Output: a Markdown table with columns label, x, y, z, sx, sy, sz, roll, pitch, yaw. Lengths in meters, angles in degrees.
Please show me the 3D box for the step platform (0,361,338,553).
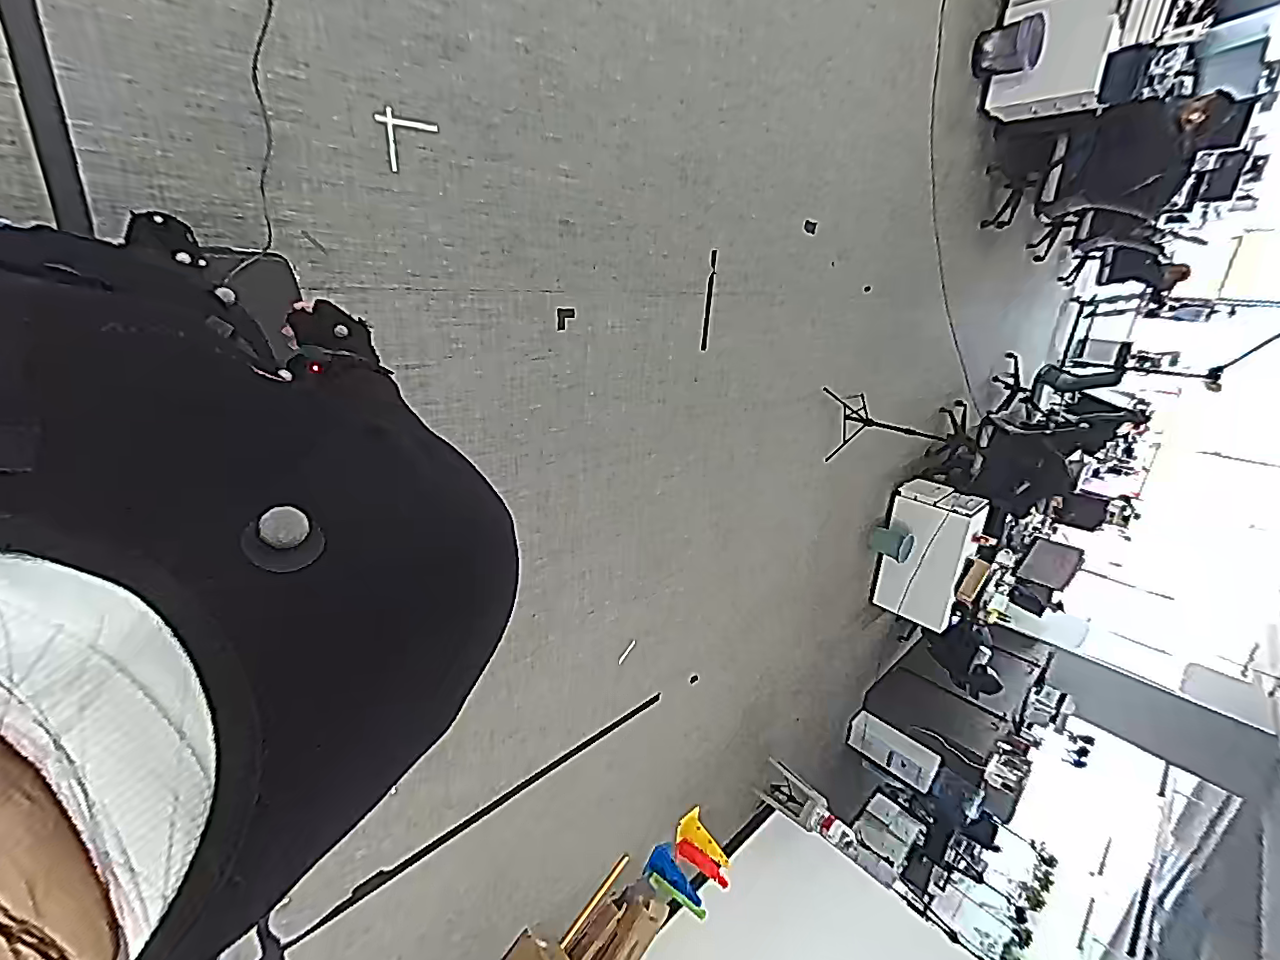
| label | x | y | z | sx | sy | sz | roll | pitch | yaw |
| --- | --- | --- | --- | --- | --- | --- | --- | --- | --- |
| step platform | -1.012 | -0.069 | 1.114 | 0.684 | 0.204 | 0.286 | -16 | 117 | -39 |
